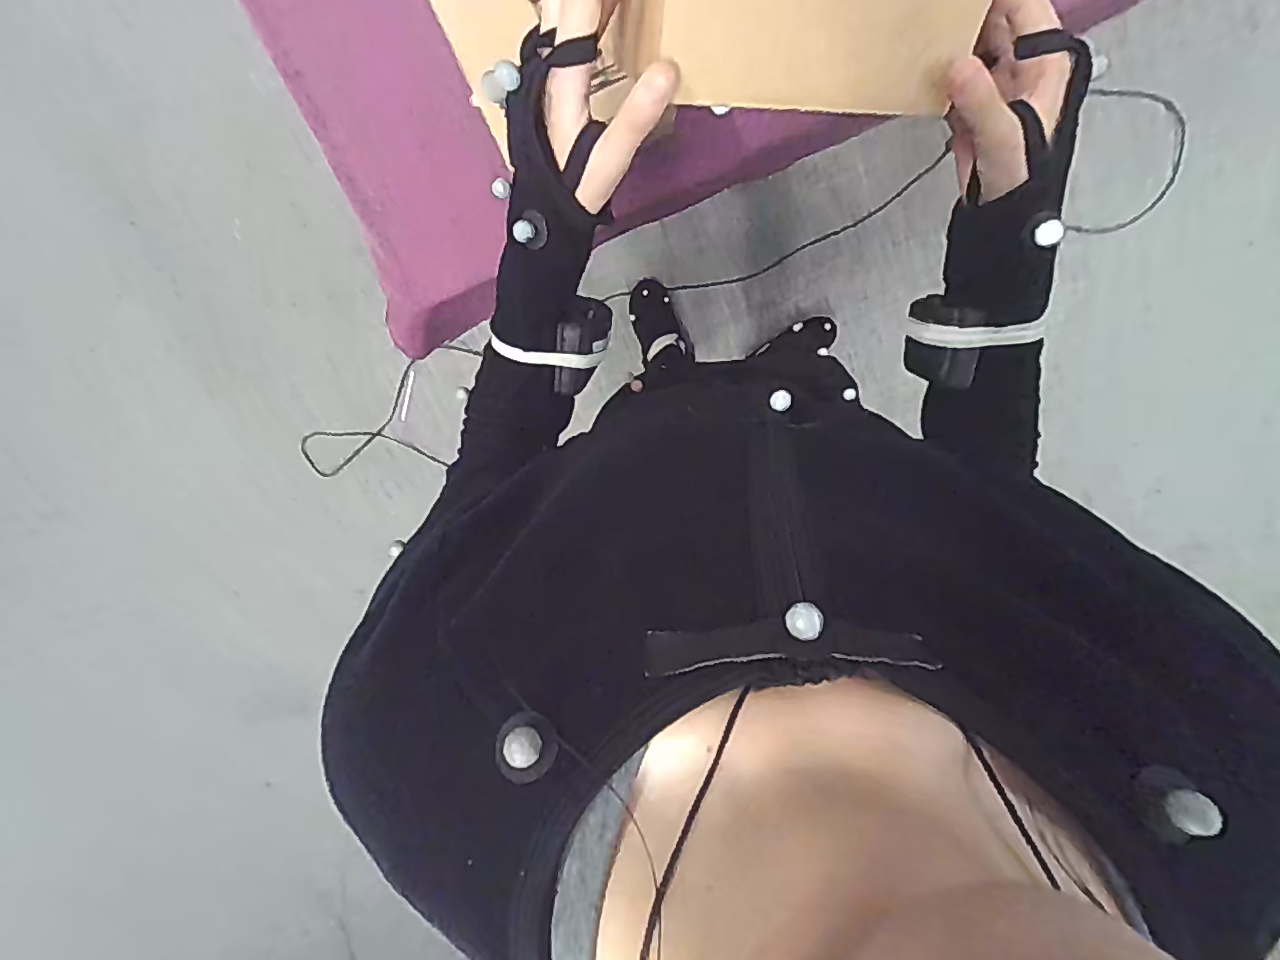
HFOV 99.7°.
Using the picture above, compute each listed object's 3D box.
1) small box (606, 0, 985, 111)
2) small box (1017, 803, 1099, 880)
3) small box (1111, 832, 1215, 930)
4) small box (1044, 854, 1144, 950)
[{"bbox_3d":[0.076,-0.313,0.273,0.168,0.176,0.179,-5,135,-11],"label":"small box"},{"bbox_3d":[1.468,1.285,1.900,0.168,0.176,0.179,-21,109,7],"label":"small box"},{"bbox_3d":[1.644,1.265,1.713,0.179,0.176,0.168,-24,108,10],"label":"small box"},{"bbox_3d":[1.467,1.363,1.754,0.179,0.176,0.168,-25,109,8],"label":"small box"}]
